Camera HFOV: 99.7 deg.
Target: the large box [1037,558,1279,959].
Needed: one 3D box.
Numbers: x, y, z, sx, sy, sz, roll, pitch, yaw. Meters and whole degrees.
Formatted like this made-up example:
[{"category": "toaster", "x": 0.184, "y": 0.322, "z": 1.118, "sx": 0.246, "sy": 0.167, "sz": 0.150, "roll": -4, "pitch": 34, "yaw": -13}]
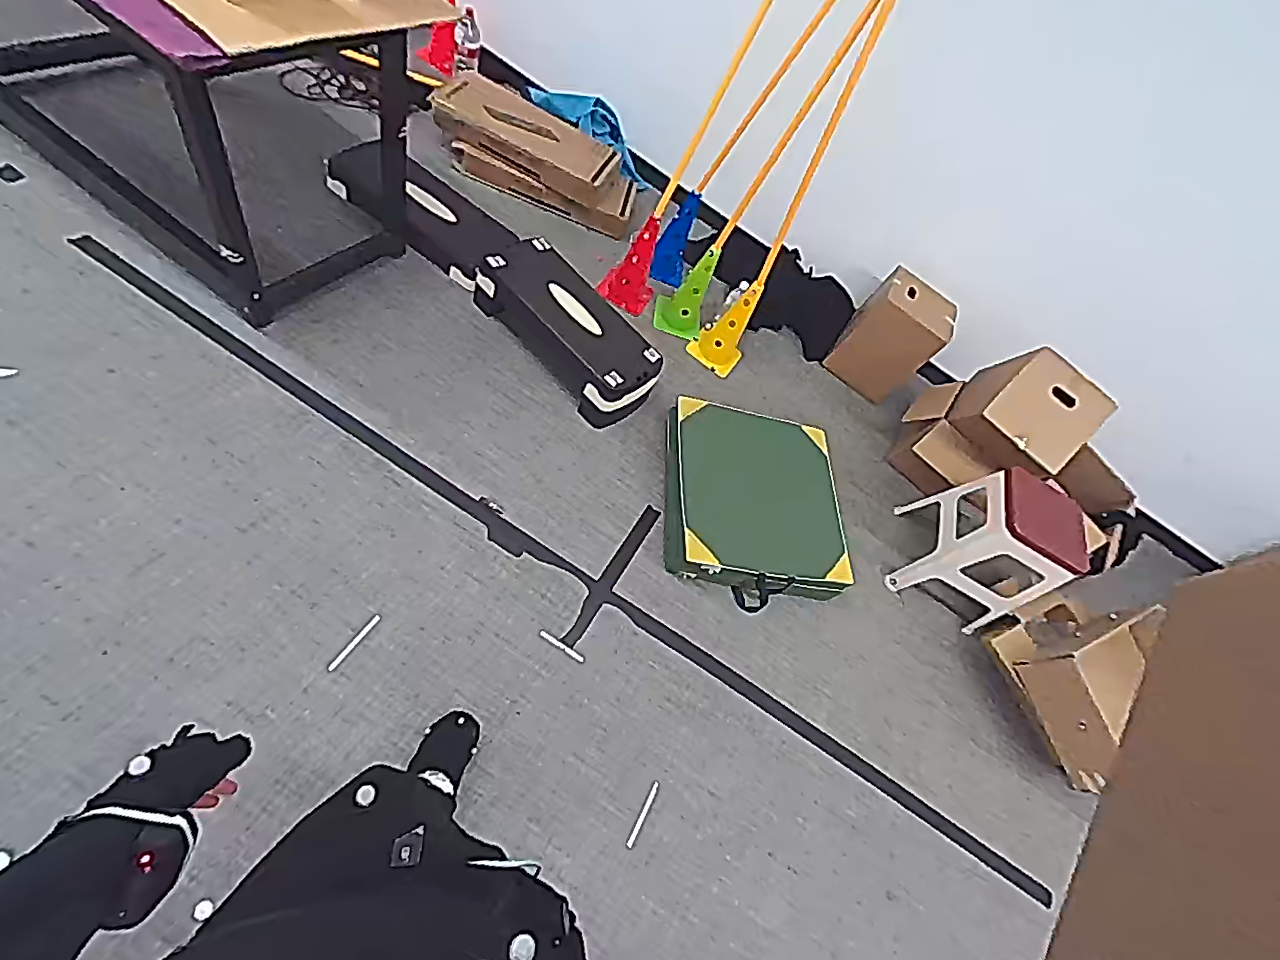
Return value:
[{"category": "large box", "x": 0.354, "y": 0.193, "z": 0.111, "sx": 0.320, "sy": 0.408, "sz": 0.320, "roll": 26, "pitch": 82, "yaw": 26}]
